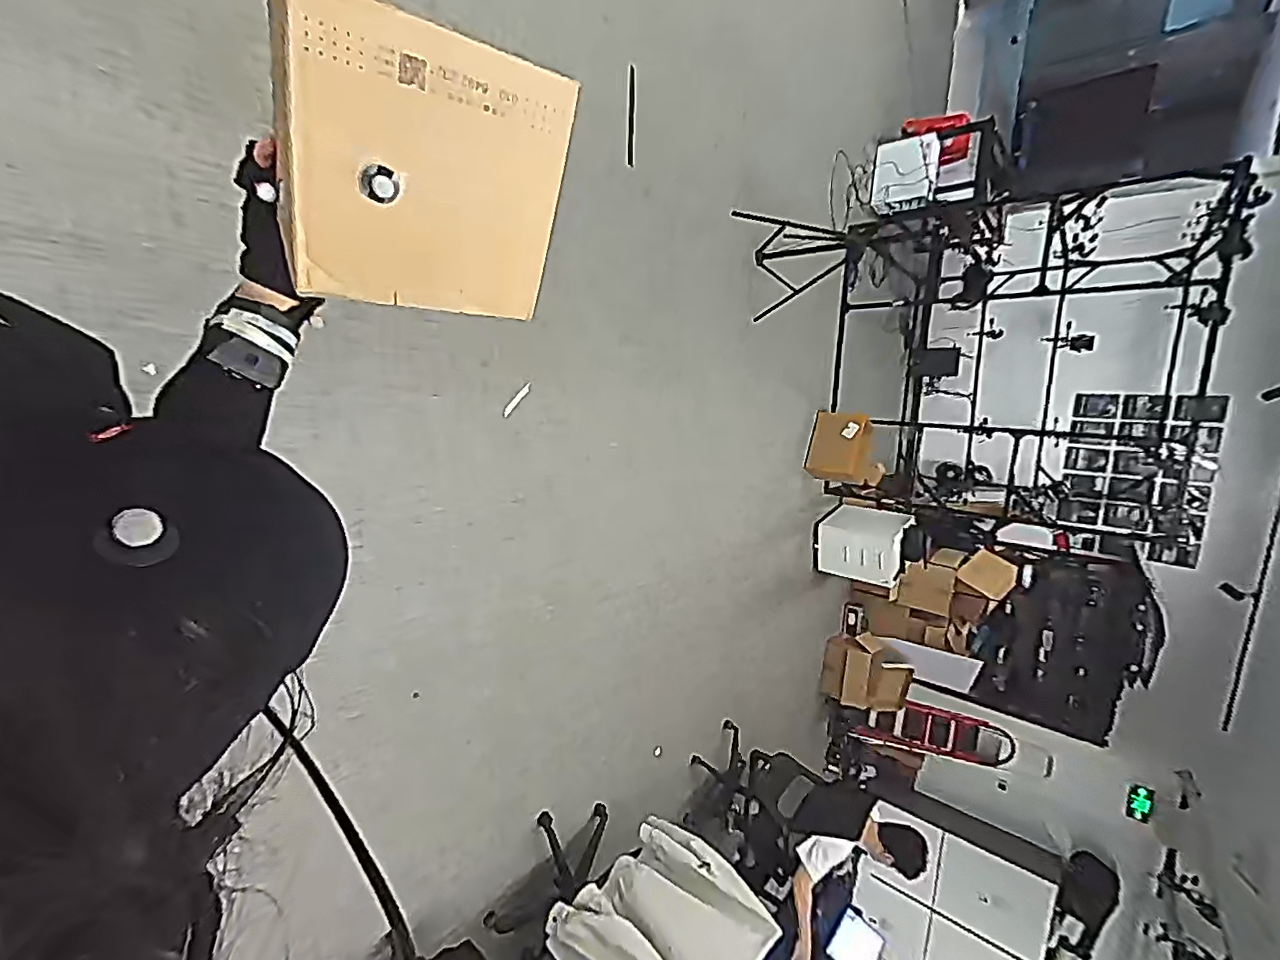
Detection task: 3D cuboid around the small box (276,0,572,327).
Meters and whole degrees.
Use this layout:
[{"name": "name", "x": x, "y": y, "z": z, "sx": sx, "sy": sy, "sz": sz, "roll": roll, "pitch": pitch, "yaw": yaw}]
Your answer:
[{"name": "small box", "x": -0.165, "y": -0.234, "z": 0.401, "sx": 0.168, "sy": 0.179, "sz": 0.176, "roll": -2, "pitch": 127, "yaw": -36}]
